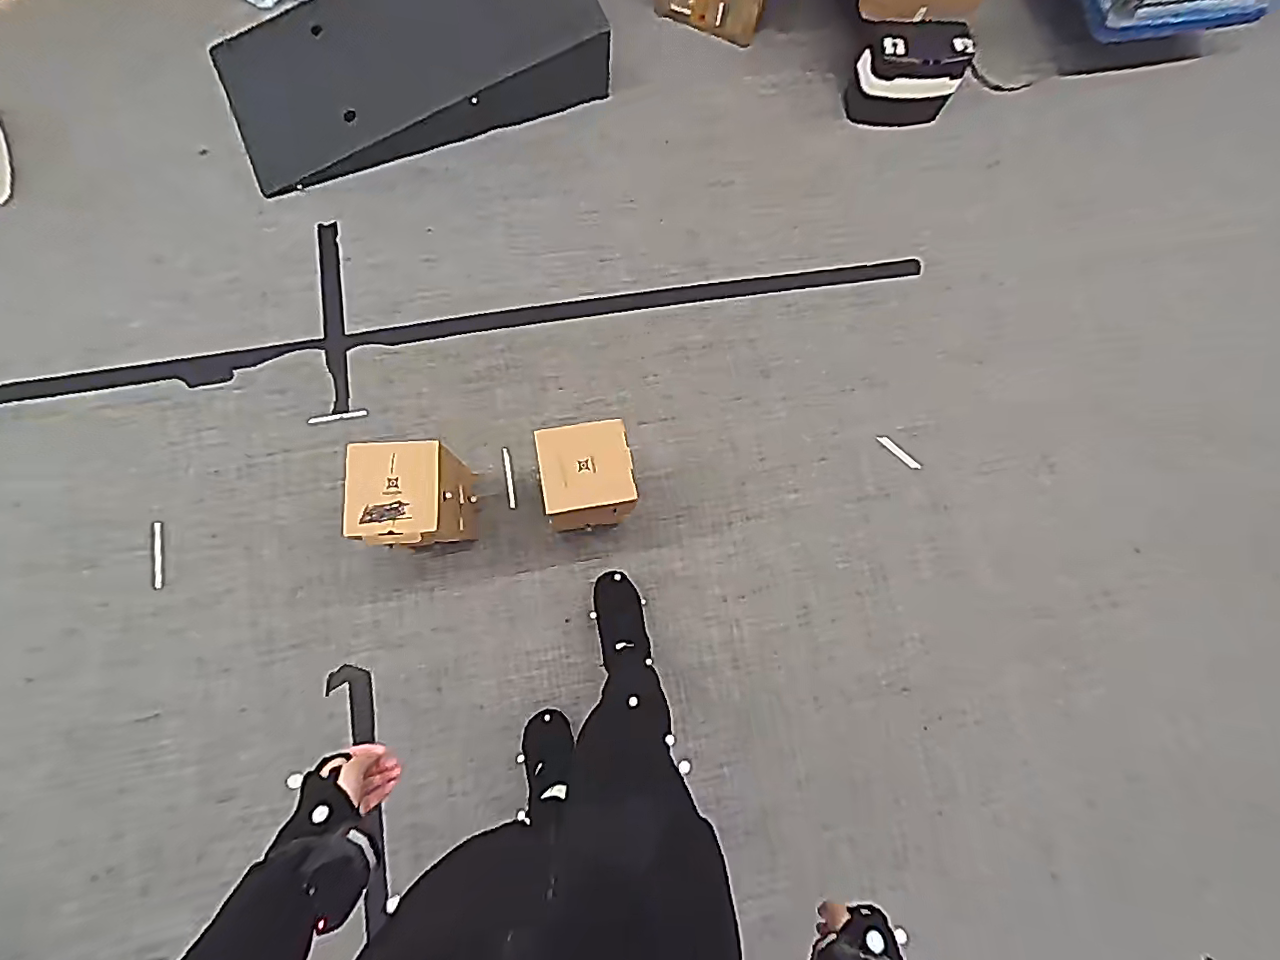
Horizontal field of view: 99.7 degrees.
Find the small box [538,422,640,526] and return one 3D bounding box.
[{"bbox_3d":[-0.105,-0.006,1.094,0.179,0.176,0.168,-9,79,-6],"label":"small box"}]

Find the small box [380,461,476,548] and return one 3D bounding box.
[{"bbox_3d":[-0.471,0.060,1.216,0.179,0.176,0.168,-6,79,-7],"label":"small box"}]

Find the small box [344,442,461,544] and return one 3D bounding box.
[{"bbox_3d":[-0.451,0.032,1.054,0.168,0.176,0.179,-2,78,-6],"label":"small box"}]

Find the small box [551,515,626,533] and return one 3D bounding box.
[{"bbox_3d":[-0.127,0.021,1.253,0.168,0.176,0.179,-6,80,-6],"label":"small box"}]
